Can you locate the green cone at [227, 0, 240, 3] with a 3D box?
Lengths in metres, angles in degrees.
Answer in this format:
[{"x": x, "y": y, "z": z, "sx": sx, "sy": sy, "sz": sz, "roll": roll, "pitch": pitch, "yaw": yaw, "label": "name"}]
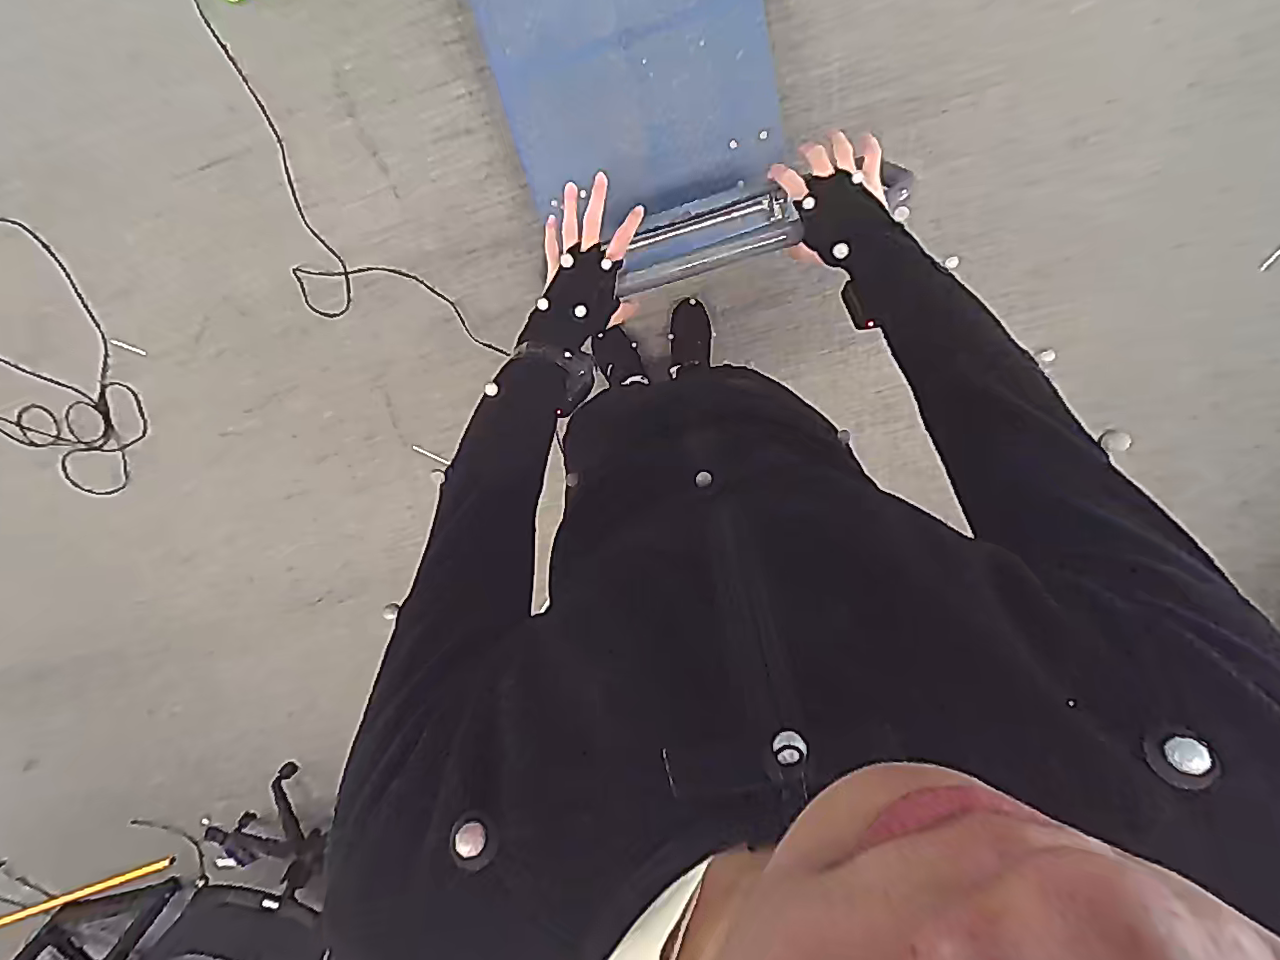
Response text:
[{"x": -0.891, "y": -1.139, "z": 1.030, "sx": 0.202, "sy": 0.368, "sz": 0.200, "roll": -18, "pitch": 110, "yaw": 9, "label": "green cone"}]
